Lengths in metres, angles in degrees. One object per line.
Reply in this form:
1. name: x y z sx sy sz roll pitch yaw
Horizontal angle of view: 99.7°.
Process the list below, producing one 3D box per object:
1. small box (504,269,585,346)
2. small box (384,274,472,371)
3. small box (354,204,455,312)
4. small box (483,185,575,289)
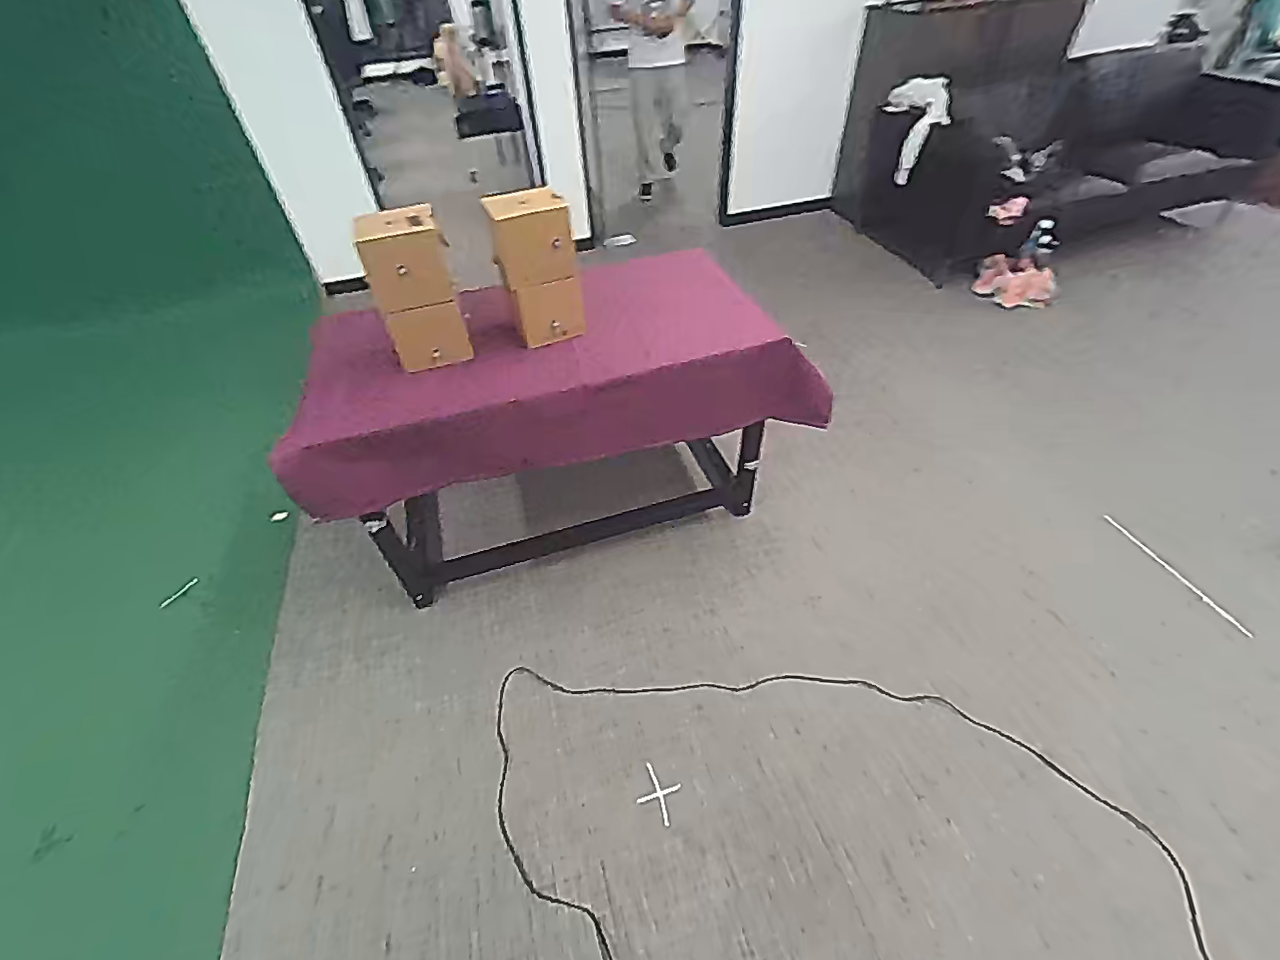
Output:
1. small box: -0.258 -0.487 1.449 0.168 0.176 0.179 -21 50 -15
2. small box: -0.539 -0.406 1.388 0.179 0.176 0.168 -16 47 -12
3. small box: -0.546 -0.519 1.269 0.179 0.176 0.168 -17 48 -11
4. small box: -0.267 -0.596 1.328 0.179 0.176 0.168 -19 48 -14
